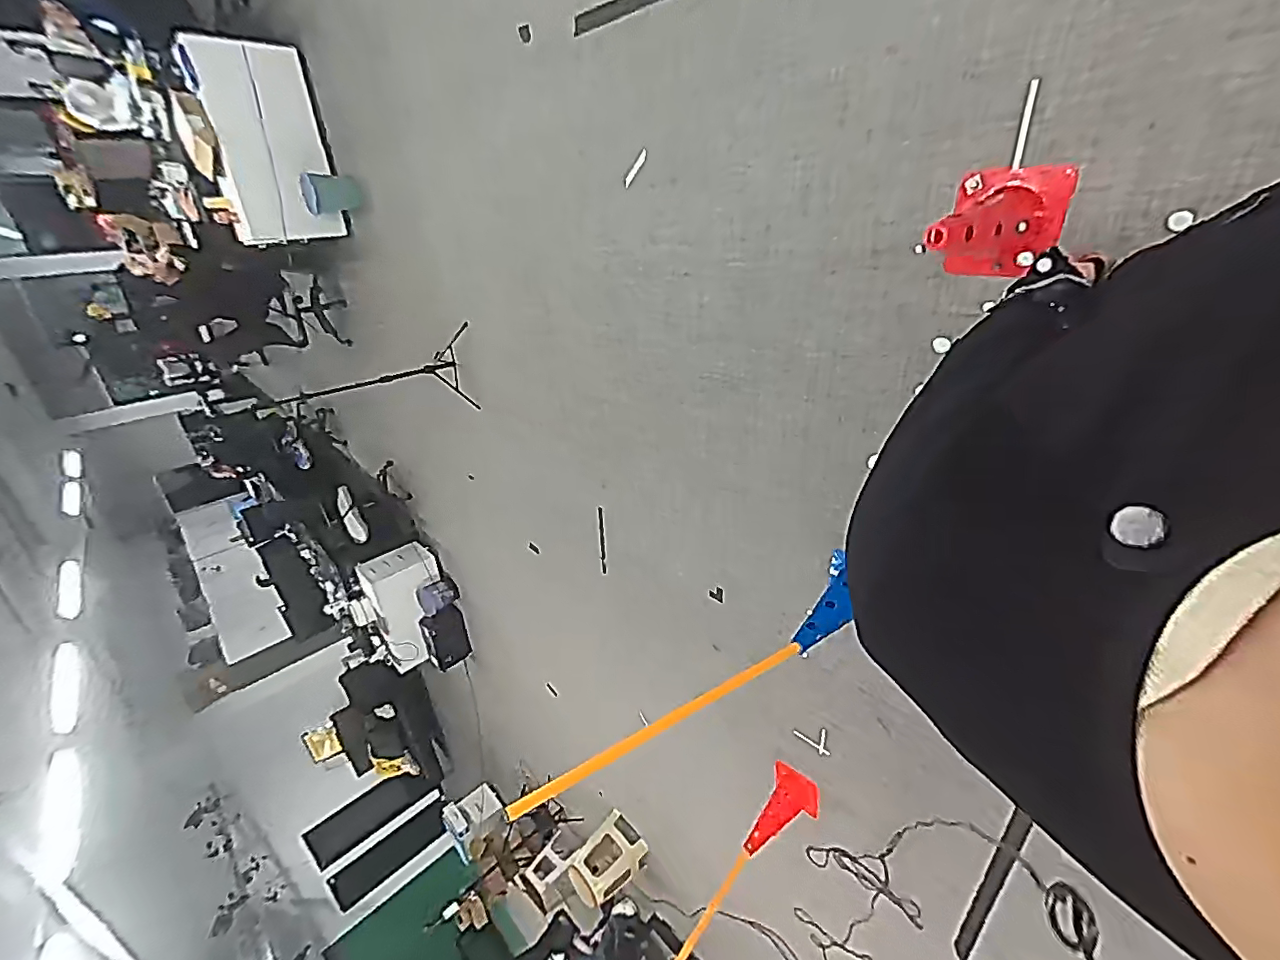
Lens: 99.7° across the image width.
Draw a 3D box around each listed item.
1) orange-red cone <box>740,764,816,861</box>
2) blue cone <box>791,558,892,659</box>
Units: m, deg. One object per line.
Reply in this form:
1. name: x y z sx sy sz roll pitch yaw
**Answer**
1. orange-red cone: 0.518 1.351 2.134 0.199 0.360 0.198 17 123 43
2. blue cone: 0.556 0.396 1.567 0.193 0.380 0.192 26 130 40
